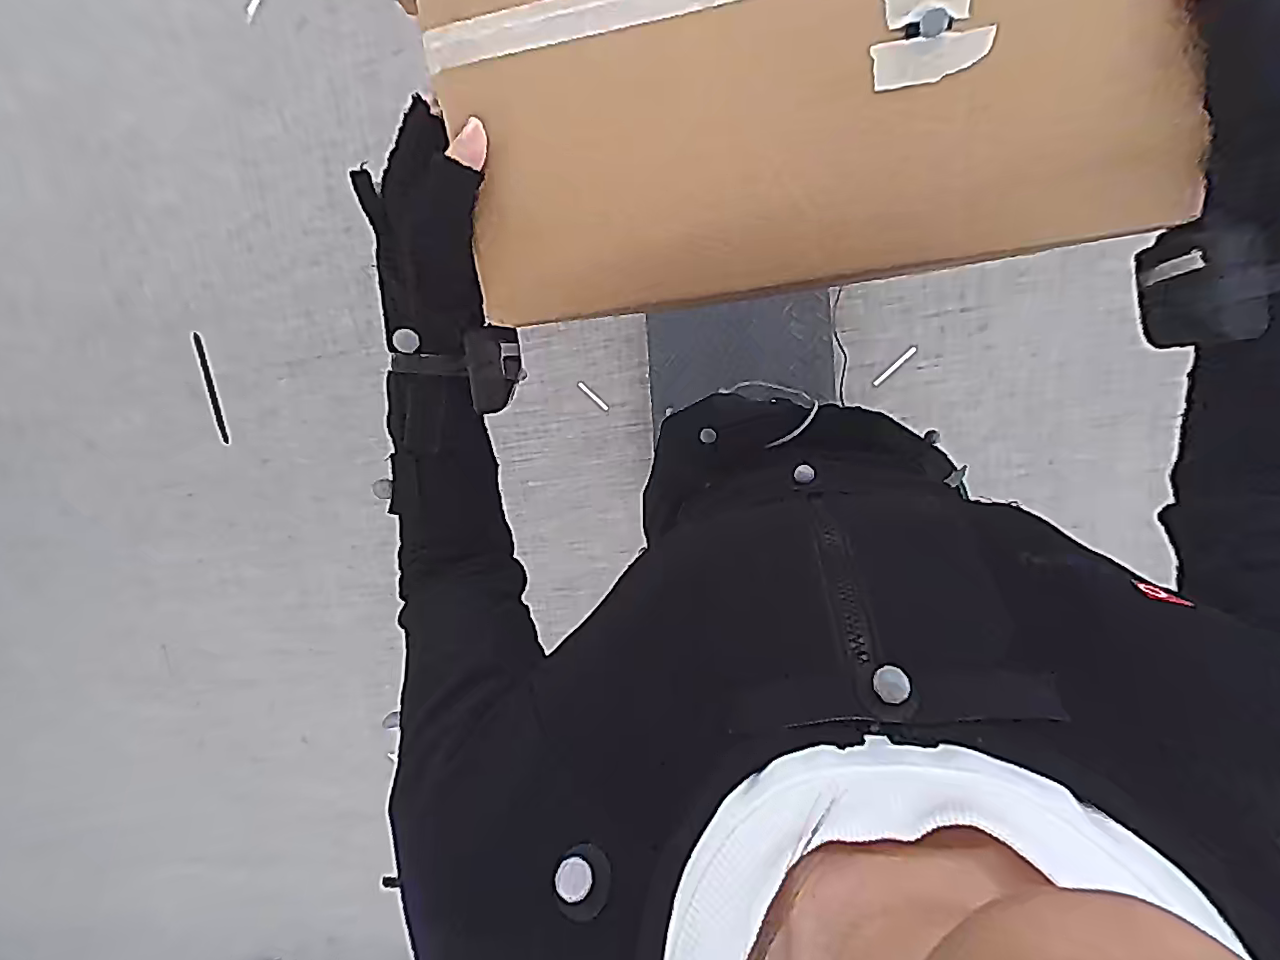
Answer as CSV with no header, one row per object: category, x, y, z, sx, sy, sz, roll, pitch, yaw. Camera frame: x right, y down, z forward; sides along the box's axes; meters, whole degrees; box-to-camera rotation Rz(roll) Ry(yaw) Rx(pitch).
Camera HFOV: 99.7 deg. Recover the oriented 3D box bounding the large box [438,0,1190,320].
large box,0.096,-0.320,0.436,0.408,0.320,0.320,-6,107,9
